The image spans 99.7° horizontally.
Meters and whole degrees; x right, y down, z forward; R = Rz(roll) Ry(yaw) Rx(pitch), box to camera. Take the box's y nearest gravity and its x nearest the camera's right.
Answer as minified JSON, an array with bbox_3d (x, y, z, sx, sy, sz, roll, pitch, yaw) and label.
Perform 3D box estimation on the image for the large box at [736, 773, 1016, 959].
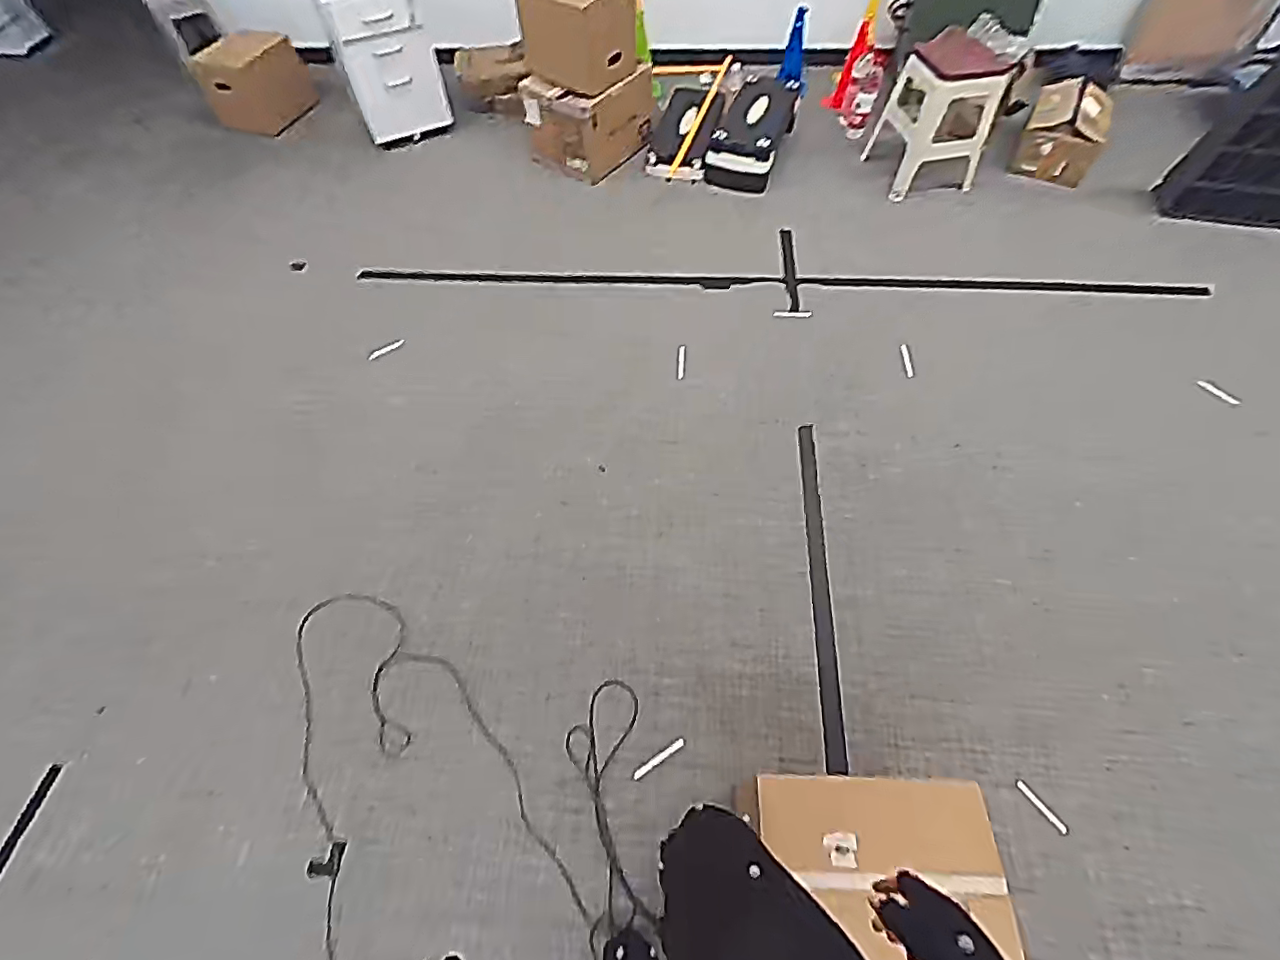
[{"bbox_3d":[0.412,0.754,1.049,0.408,0.320,0.320,0,59,2],"label":"large box"}]
